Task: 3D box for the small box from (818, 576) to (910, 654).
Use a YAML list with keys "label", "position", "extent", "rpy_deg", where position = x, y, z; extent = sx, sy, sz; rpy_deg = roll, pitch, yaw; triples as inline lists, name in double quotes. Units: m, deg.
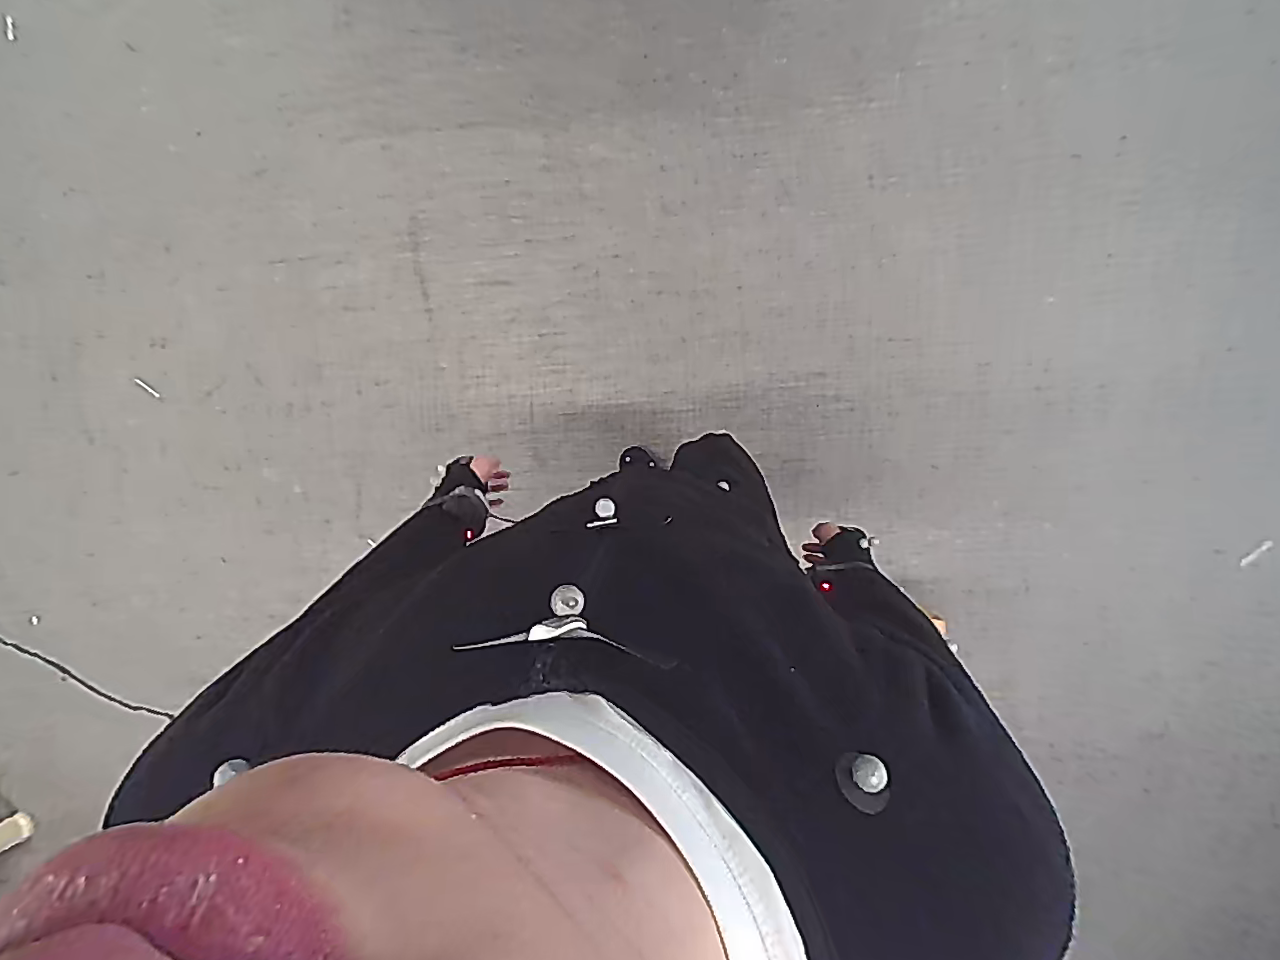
- label: "small box"
  position: [0.594, 0.361, 1.451]
  extent: [0.179, 0.176, 0.168]
  rpy_deg: [4, 95, 3]
